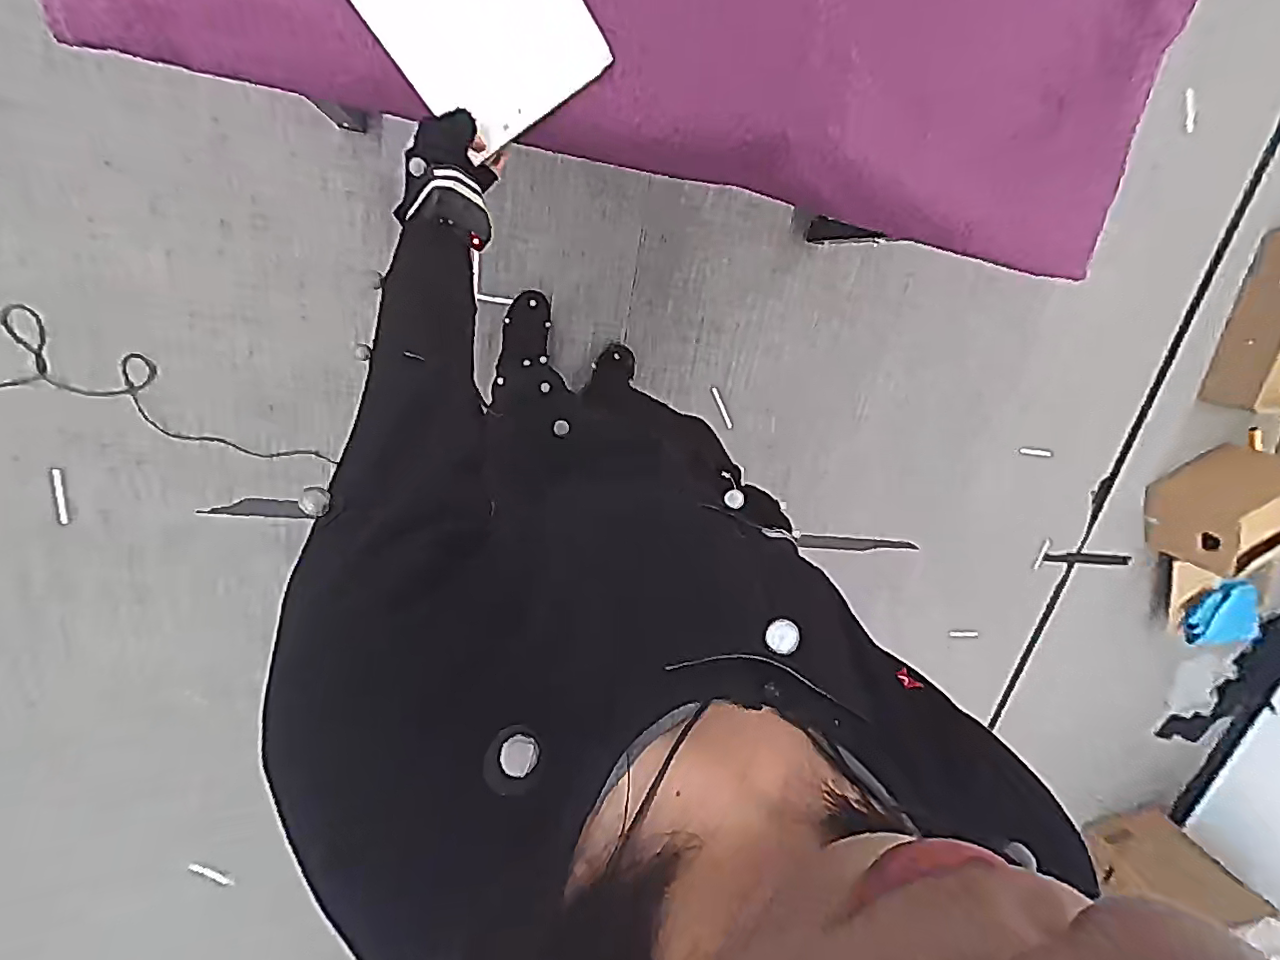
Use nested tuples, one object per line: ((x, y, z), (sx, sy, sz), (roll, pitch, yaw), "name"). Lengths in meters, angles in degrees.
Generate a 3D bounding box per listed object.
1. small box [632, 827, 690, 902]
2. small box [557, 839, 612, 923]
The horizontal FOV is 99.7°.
((0.076, 1.509, 2.130), (0.179, 0.176, 0.168), (3, 110, -17), "small box")
((-0.211, 1.516, 2.053), (0.168, 0.176, 0.179), (-14, 113, -11), "small box")
